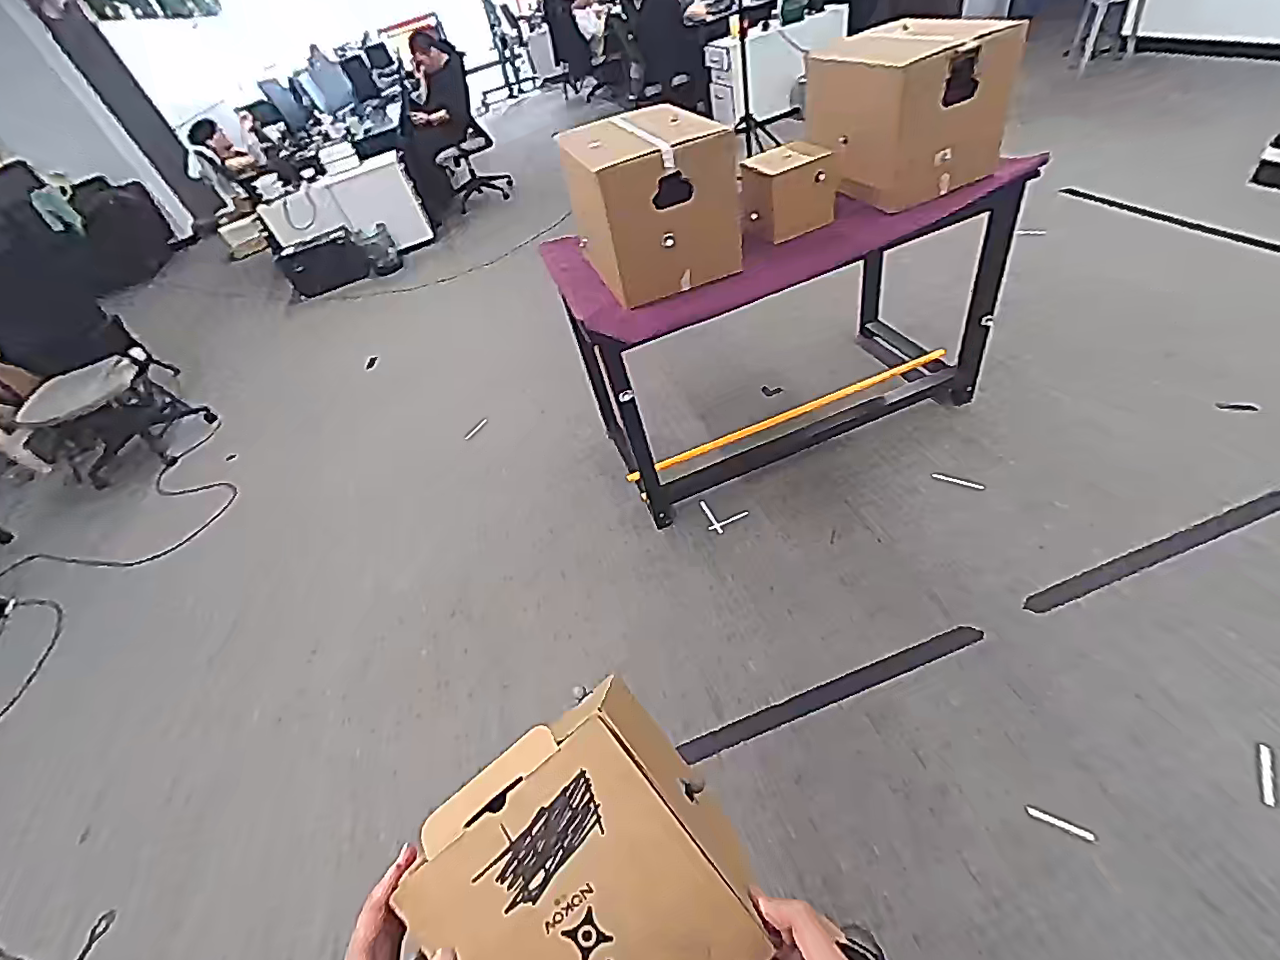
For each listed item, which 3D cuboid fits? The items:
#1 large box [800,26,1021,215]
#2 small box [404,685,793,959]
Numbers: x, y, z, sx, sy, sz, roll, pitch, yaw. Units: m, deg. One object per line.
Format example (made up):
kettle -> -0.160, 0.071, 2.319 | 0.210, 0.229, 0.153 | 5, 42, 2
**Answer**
large box -> 0.661, -0.932, 1.399 | 0.320, 0.320, 0.408 | -22, 43, -5
small box -> -0.026, 0.272, 0.394 | 0.168, 0.176, 0.179 | -39, 80, -6
